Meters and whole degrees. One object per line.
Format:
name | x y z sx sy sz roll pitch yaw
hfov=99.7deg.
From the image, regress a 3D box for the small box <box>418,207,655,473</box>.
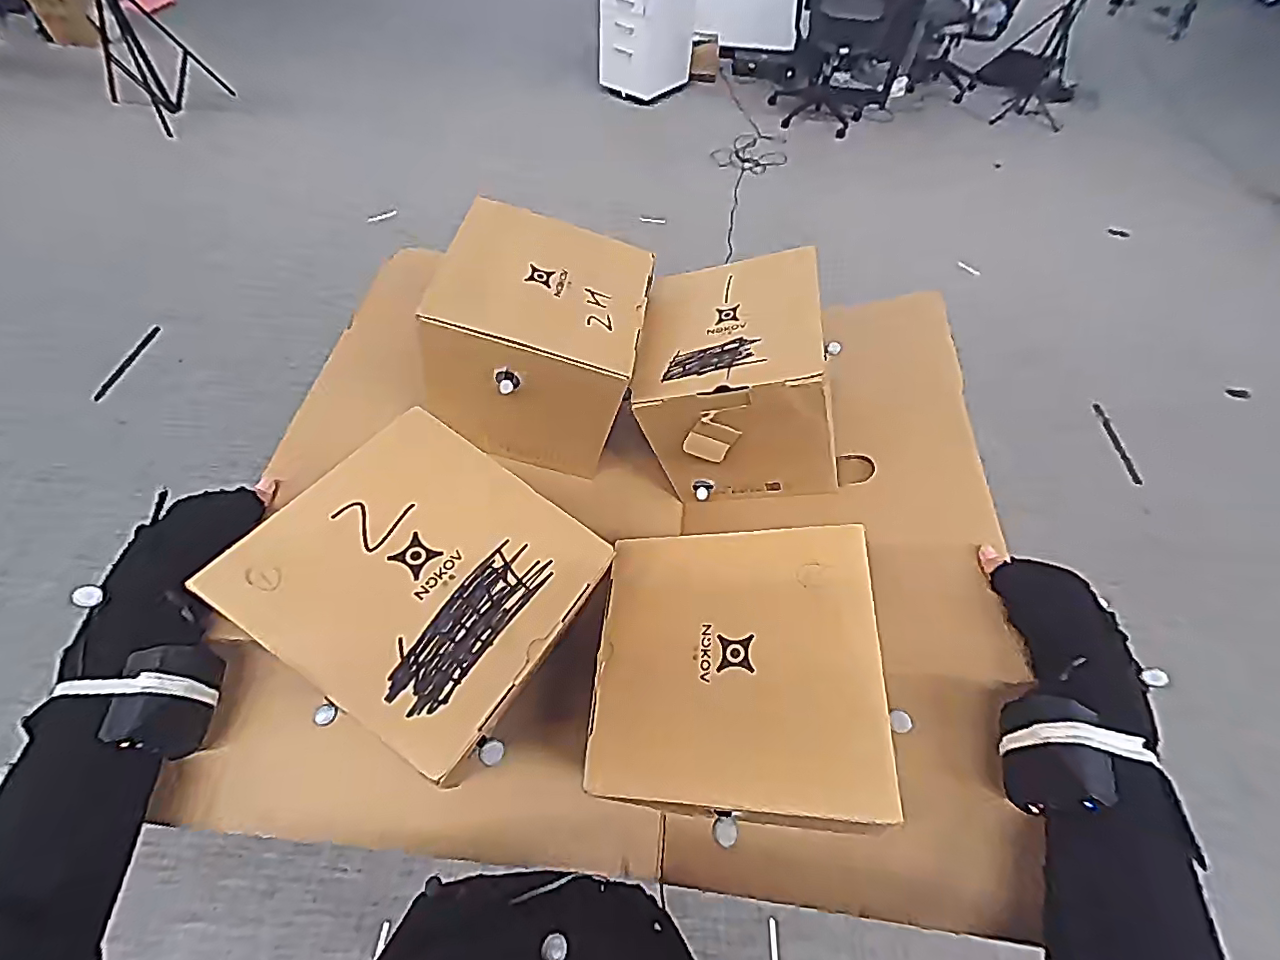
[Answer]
small box | -0.100 -0.127 0.540 0.179 0.176 0.168 16 57 -9
